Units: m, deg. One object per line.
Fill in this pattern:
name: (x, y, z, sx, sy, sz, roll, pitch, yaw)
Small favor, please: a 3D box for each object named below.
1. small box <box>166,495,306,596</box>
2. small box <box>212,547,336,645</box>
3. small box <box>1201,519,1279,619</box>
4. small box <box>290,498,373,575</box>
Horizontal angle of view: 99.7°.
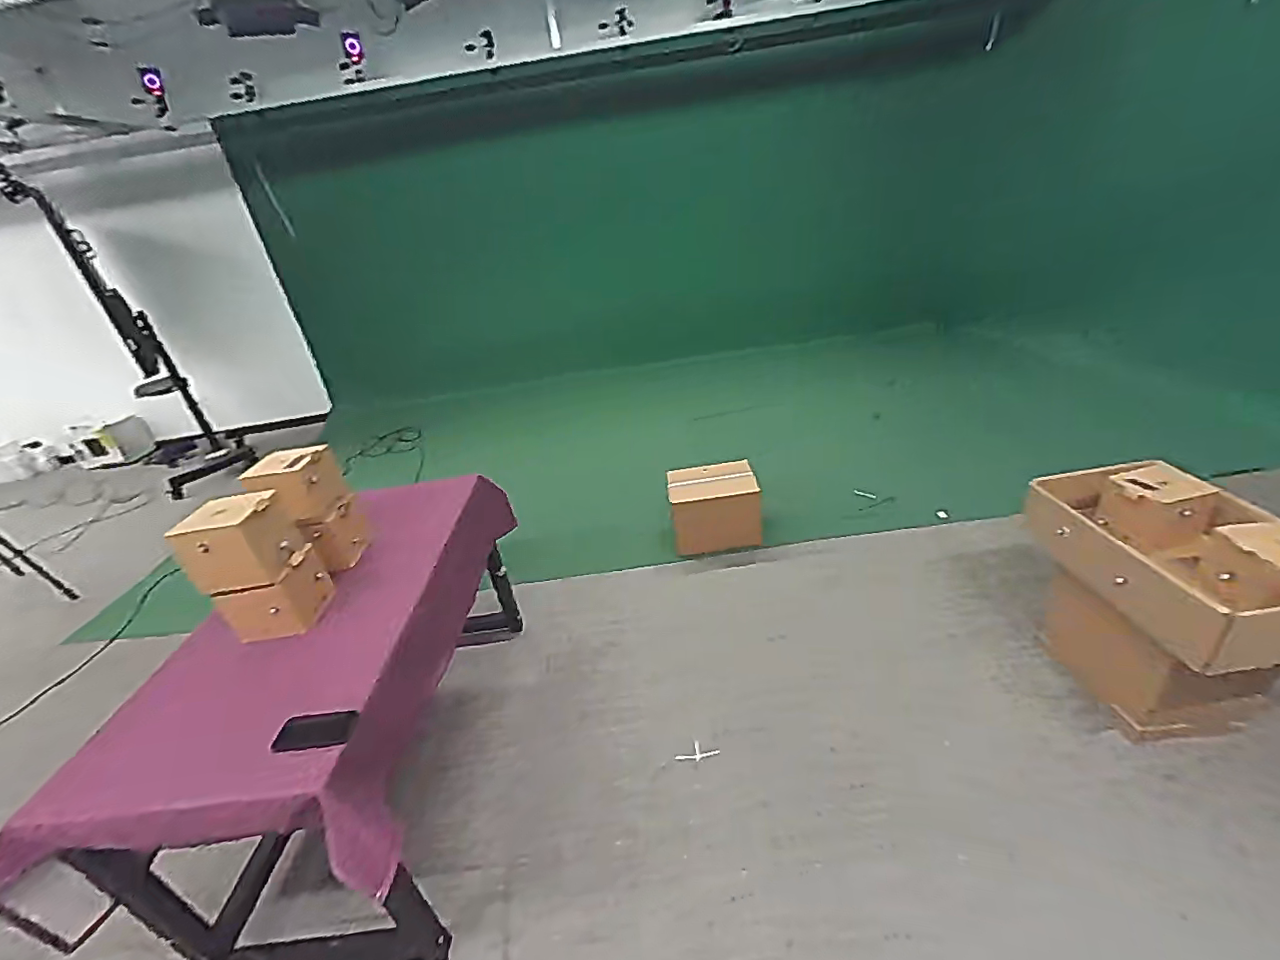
small box: (-0.955, 0.160, 1.296, 0.179, 0.176, 0.168, -9, 28, 1)
small box: (-0.919, 0.297, 1.381, 0.179, 0.176, 0.168, -10, 27, 2)
small box: (1.491, 0.211, 1.275, 0.179, 0.176, 0.168, -7, 28, 9)
small box: (-0.939, 0.175, 1.616, 0.179, 0.176, 0.168, -8, 28, 2)
